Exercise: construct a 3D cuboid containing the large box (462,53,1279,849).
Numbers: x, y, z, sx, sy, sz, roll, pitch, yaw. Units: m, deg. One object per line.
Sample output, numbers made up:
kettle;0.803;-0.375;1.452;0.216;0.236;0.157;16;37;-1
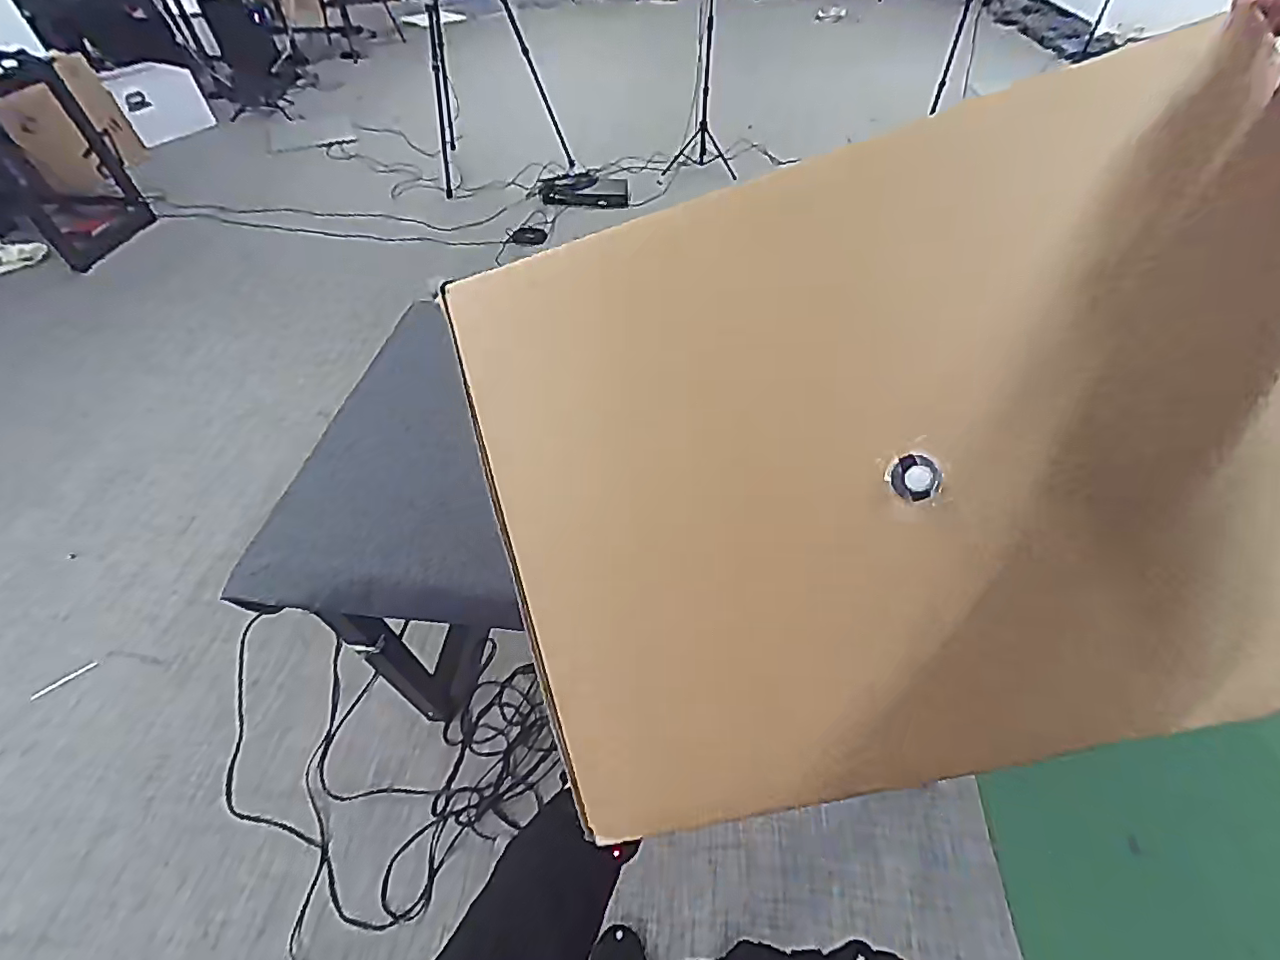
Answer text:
large box;0.151;-0.002;0.418;0.408;0.320;0.320;-18;87;6
